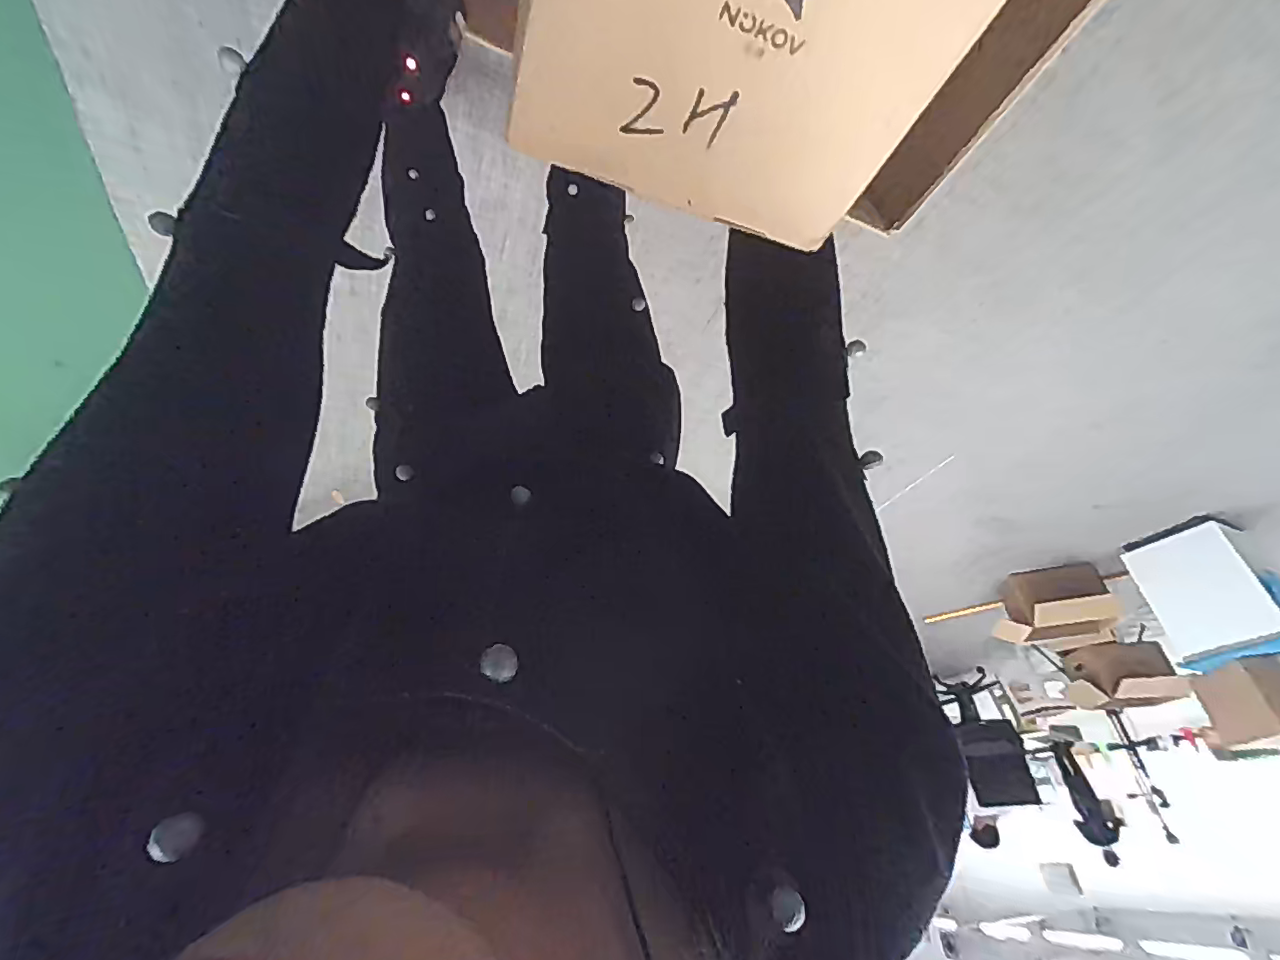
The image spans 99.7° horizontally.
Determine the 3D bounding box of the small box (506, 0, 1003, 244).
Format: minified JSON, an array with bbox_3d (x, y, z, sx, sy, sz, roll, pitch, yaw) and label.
[{"bbox_3d":[0.044,-0.246,0.230,0.168,0.176,0.179,9,147,-21],"label":"small box"}]
